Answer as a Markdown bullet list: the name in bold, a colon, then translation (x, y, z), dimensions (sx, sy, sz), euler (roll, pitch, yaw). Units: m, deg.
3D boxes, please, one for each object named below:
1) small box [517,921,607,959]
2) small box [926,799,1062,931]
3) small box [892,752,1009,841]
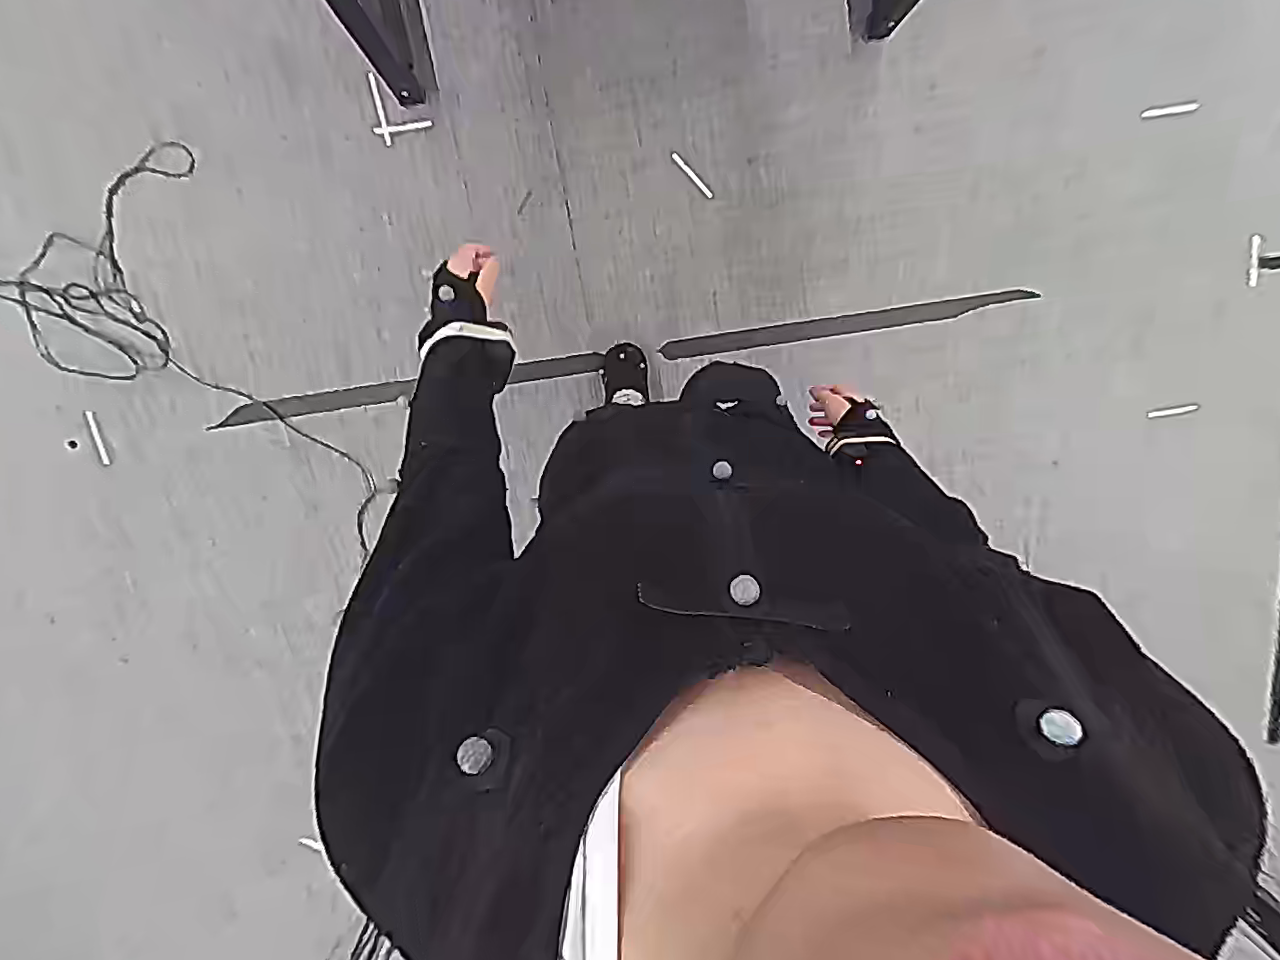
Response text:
- **small box**: translation (-0.174, 1.101, 1.147), dimensions (0.168, 0.176, 0.179), euler (40, 96, -10)
- **small box**: translation (0.834, 0.909, 1.294), dimensions (0.179, 0.176, 0.168), euler (31, 99, -10)
- **small box**: translation (0.825, 0.871, 1.455), dimensions (0.179, 0.176, 0.168), euler (31, 99, -11)
